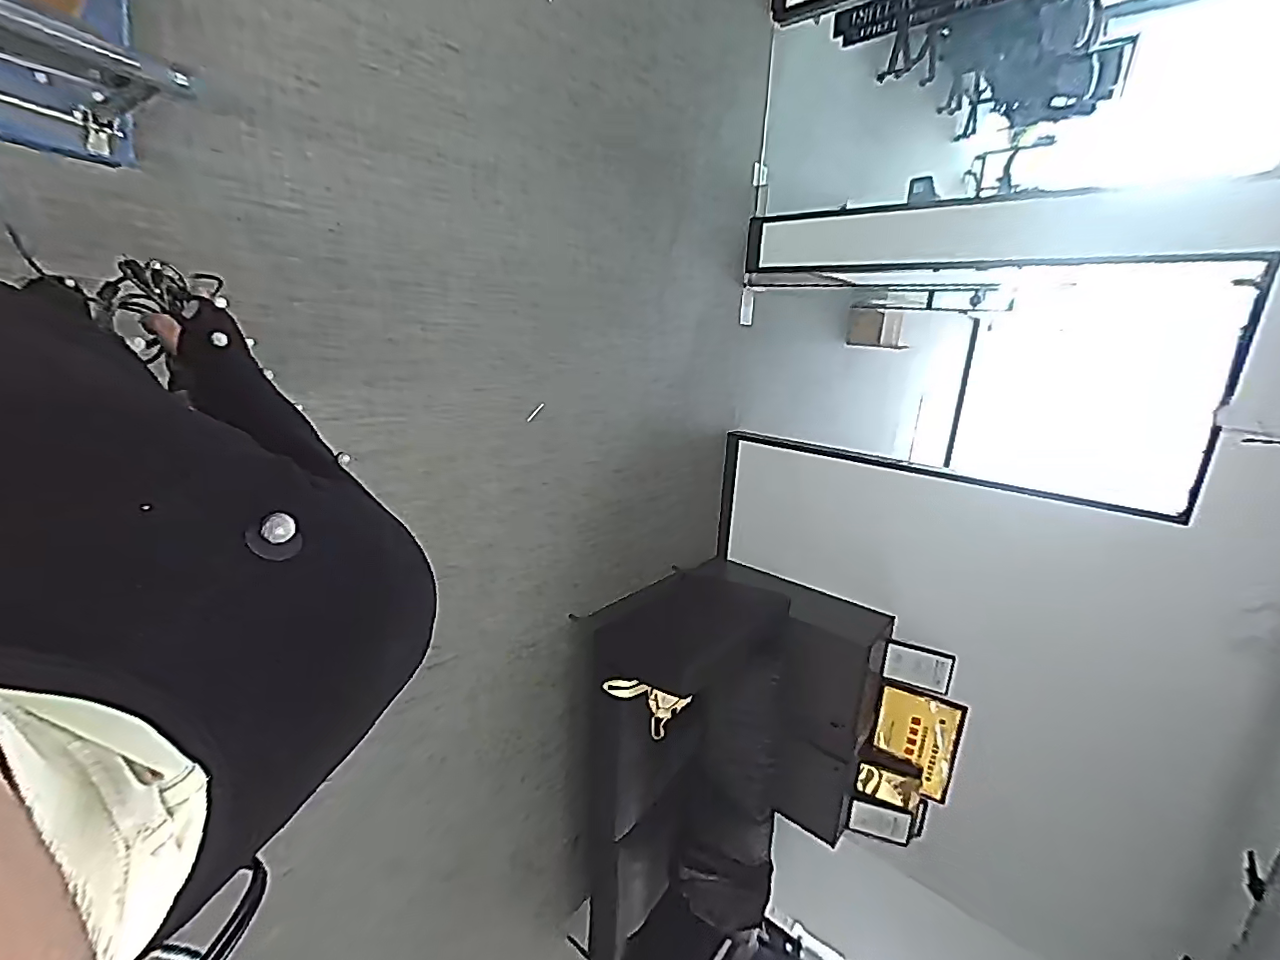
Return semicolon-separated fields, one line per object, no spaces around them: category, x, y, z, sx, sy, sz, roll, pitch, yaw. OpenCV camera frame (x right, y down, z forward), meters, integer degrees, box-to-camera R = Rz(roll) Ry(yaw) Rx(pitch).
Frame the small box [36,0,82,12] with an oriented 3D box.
small box;-0.949;-0.859;0.803;0.168;0.176;0.179;-6;108;-51
